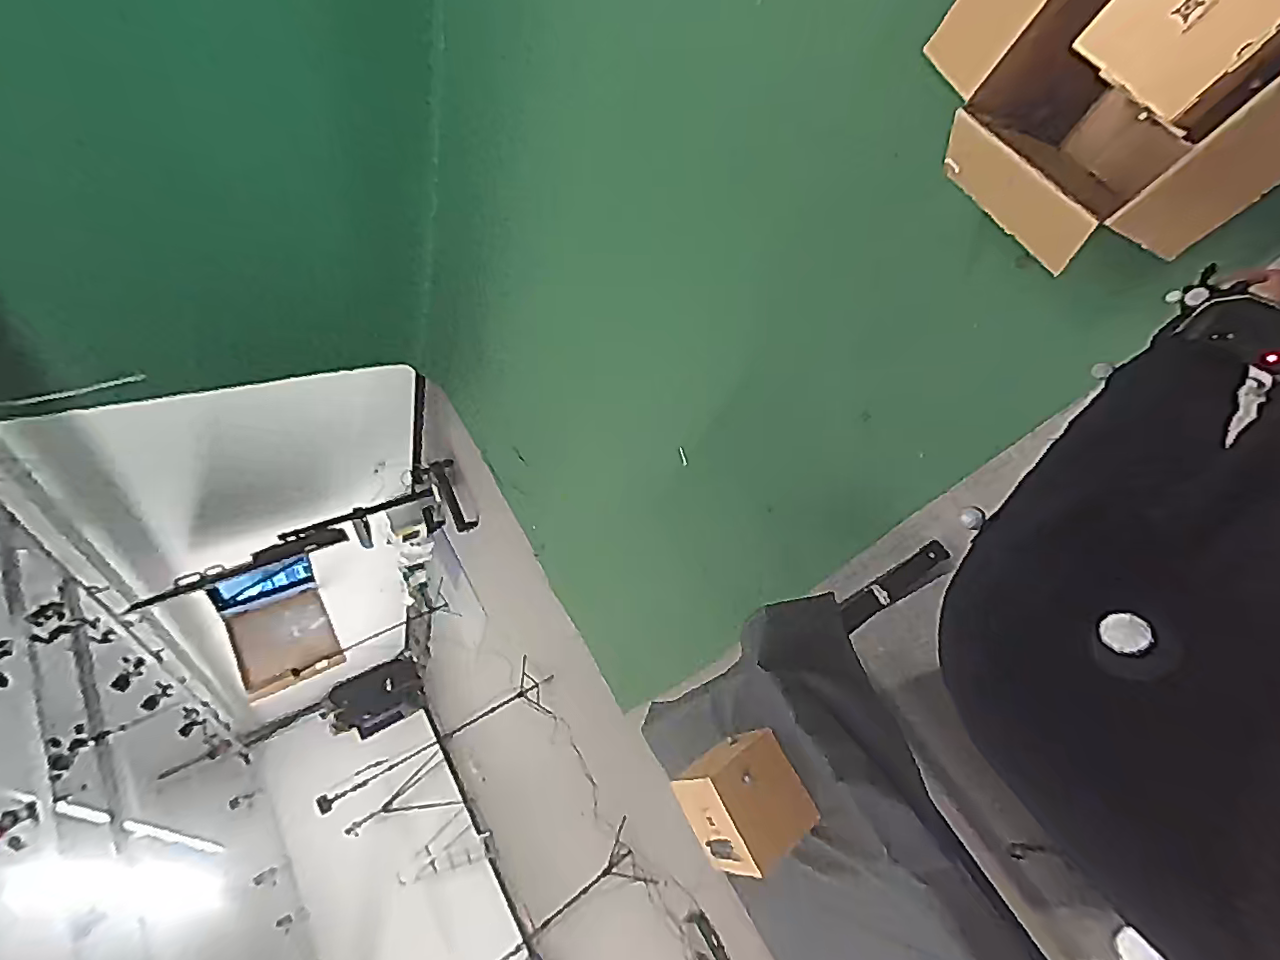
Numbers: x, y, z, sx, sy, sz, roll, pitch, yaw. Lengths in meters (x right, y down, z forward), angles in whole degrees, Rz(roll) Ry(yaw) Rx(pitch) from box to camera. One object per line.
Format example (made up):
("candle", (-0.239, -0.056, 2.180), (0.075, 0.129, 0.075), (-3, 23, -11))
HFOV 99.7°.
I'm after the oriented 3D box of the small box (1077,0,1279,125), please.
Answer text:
("small box", (0.722, -0.586, 0.688), (0.179, 0.176, 0.168), (59, 143, 17))
